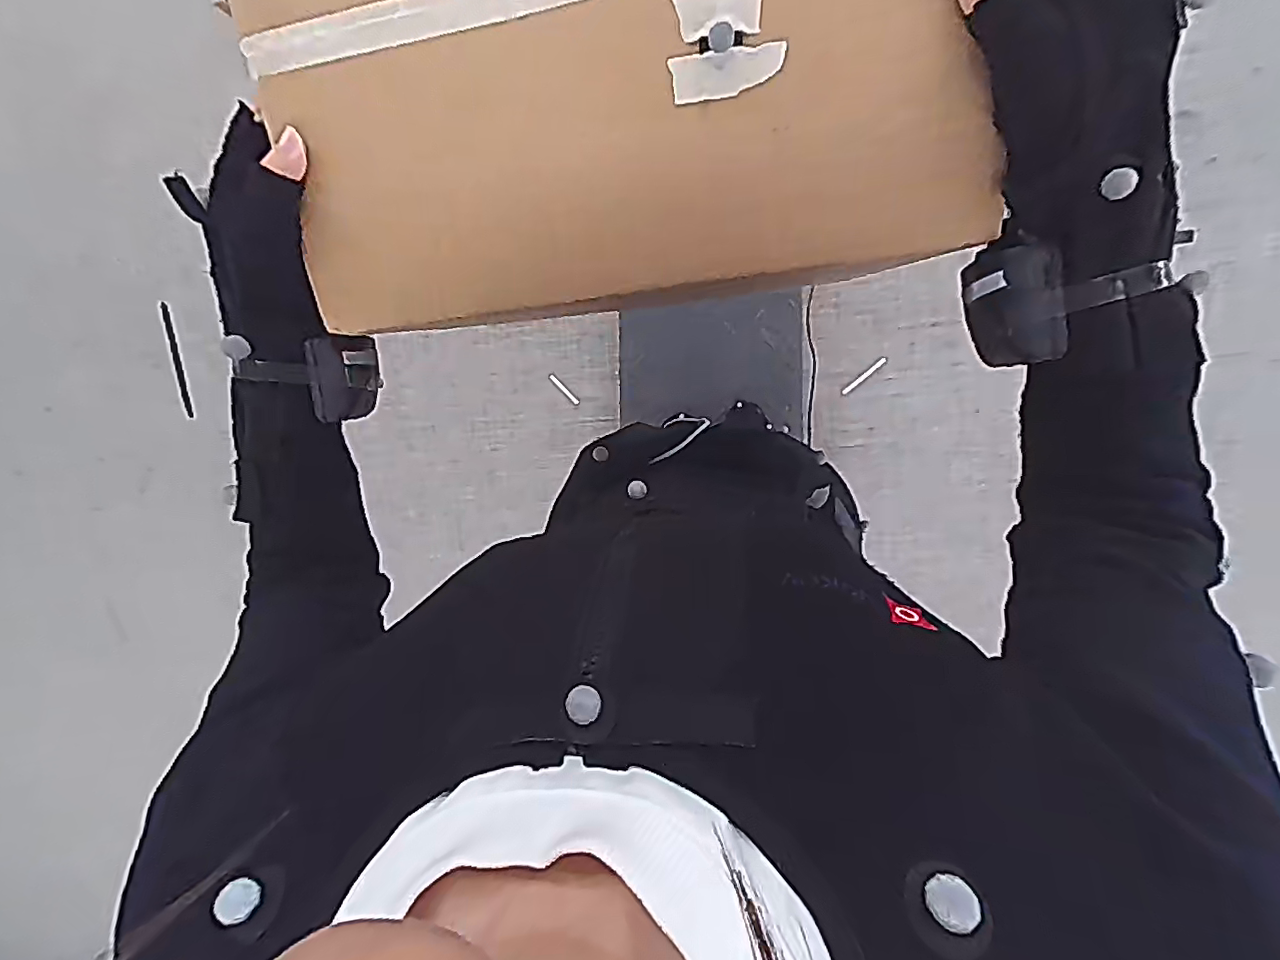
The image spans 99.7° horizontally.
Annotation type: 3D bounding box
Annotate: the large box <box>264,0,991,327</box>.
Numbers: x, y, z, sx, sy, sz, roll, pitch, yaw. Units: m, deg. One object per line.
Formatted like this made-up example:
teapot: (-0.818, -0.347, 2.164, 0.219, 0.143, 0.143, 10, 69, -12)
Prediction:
large box: (-0.004, -0.312, 0.434, 0.408, 0.320, 0.320, -5, 107, 10)
